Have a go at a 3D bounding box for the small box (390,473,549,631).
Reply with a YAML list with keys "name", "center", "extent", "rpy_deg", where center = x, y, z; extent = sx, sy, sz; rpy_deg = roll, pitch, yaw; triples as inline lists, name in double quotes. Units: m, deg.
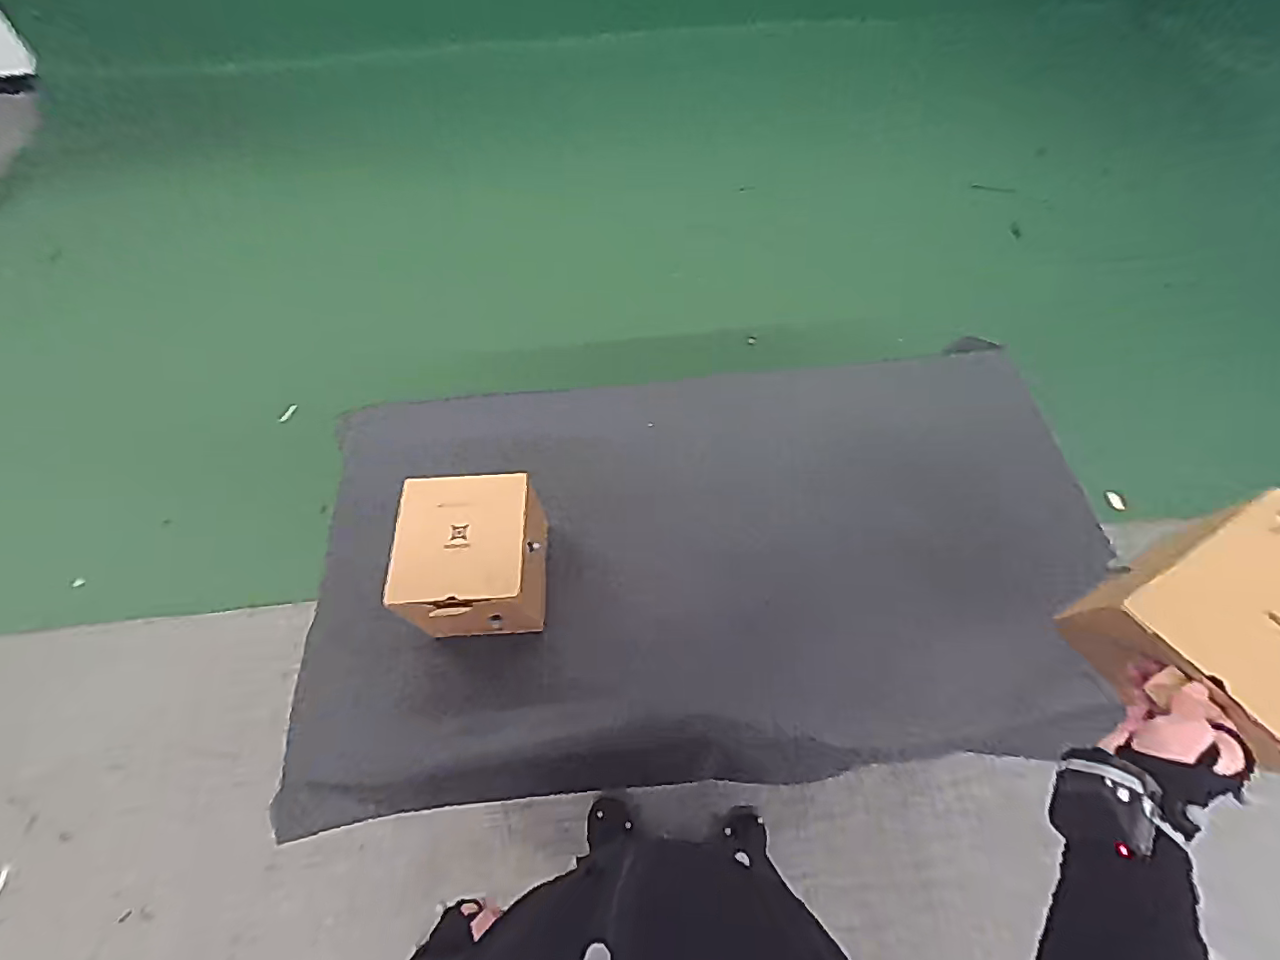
- name: "small box"
  center: [-0.224, 0.109, 0.762]
  extent: [0.168, 0.176, 0.179]
  rpy_deg: [-2, 60, -1]
